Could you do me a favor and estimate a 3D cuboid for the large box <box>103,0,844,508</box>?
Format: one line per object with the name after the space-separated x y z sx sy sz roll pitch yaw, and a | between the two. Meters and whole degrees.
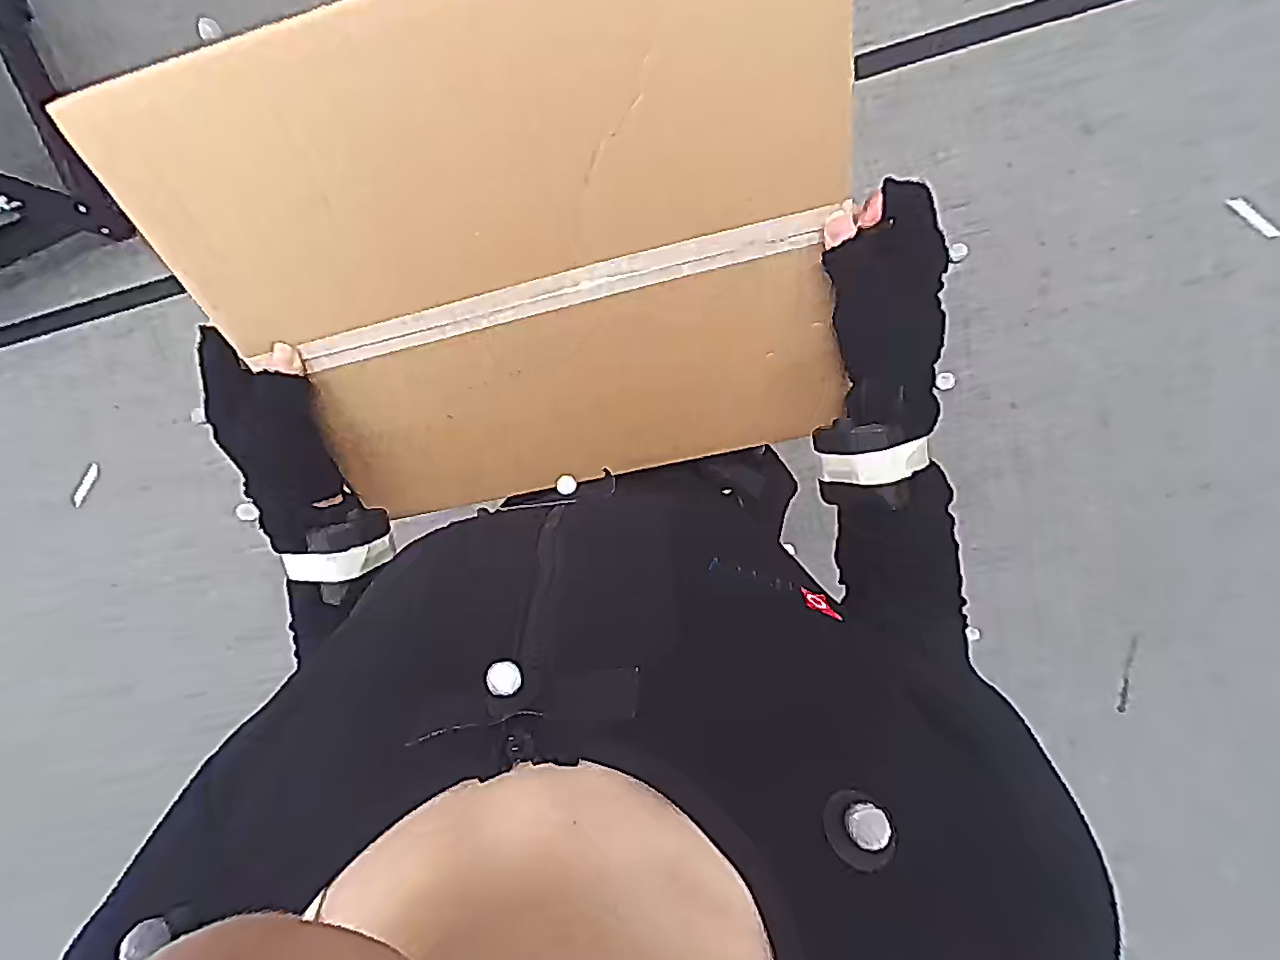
-0.073 -0.221 0.473 0.408 0.320 0.320 -11 131 8 | large box
